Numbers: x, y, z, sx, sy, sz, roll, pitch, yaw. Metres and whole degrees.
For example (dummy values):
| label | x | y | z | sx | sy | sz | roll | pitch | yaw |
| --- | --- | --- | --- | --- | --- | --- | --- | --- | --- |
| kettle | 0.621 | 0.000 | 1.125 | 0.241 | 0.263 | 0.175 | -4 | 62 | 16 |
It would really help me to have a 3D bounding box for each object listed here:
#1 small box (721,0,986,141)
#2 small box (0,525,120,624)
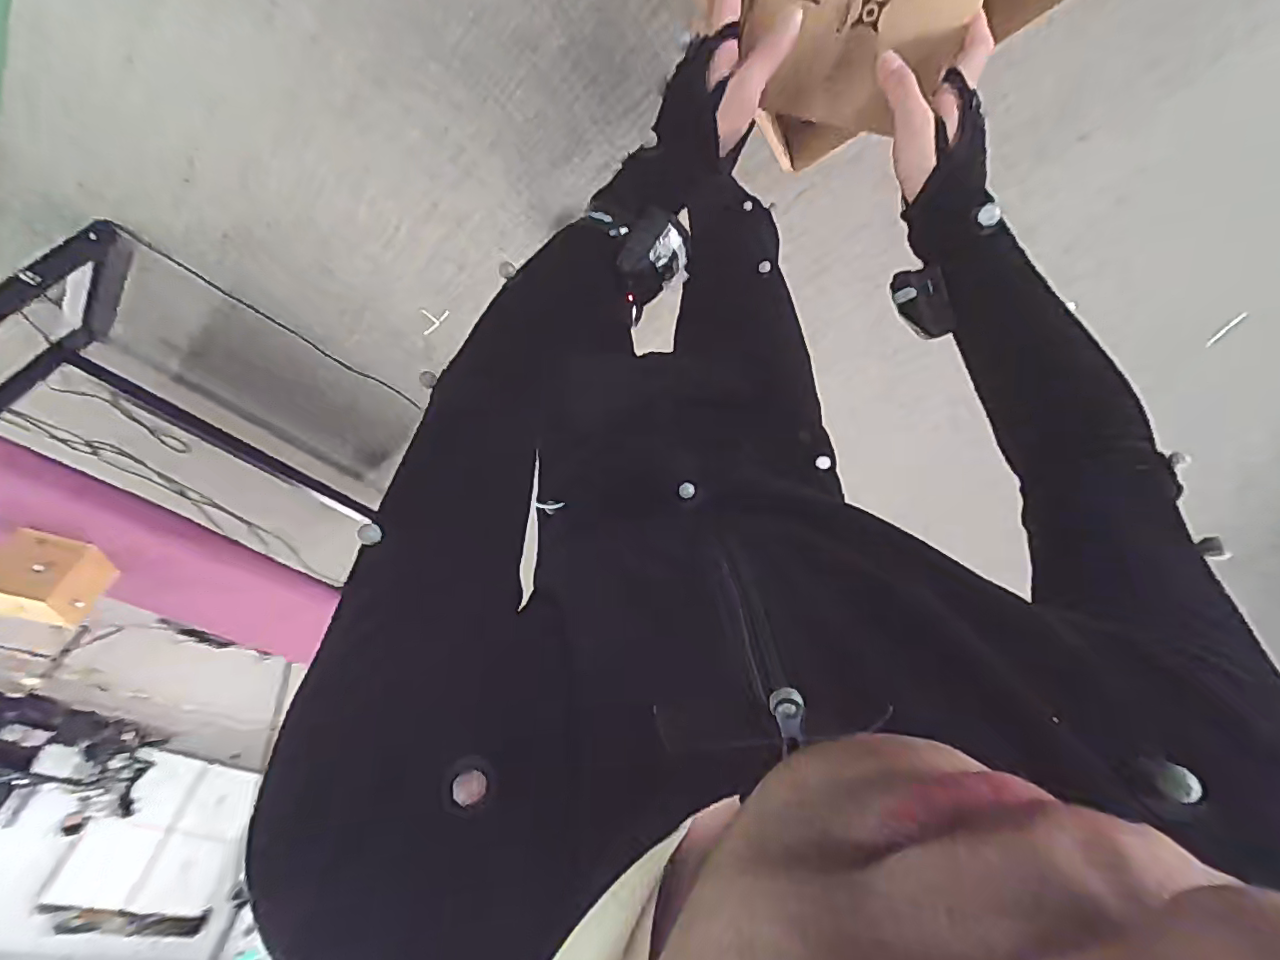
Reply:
| label | x | y | z | sx | sy | sz | roll | pitch | yaw |
| --- | --- | --- | --- | --- | --- | --- | --- | --- | --- |
| small box | 0.176 | -0.425 | 0.451 | 0.179 | 0.176 | 0.168 | 10 | 149 | -3 |
| small box | -1.477 | 0.235 | 1.357 | 0.168 | 0.176 | 0.179 | 18 | 140 | -13 |
